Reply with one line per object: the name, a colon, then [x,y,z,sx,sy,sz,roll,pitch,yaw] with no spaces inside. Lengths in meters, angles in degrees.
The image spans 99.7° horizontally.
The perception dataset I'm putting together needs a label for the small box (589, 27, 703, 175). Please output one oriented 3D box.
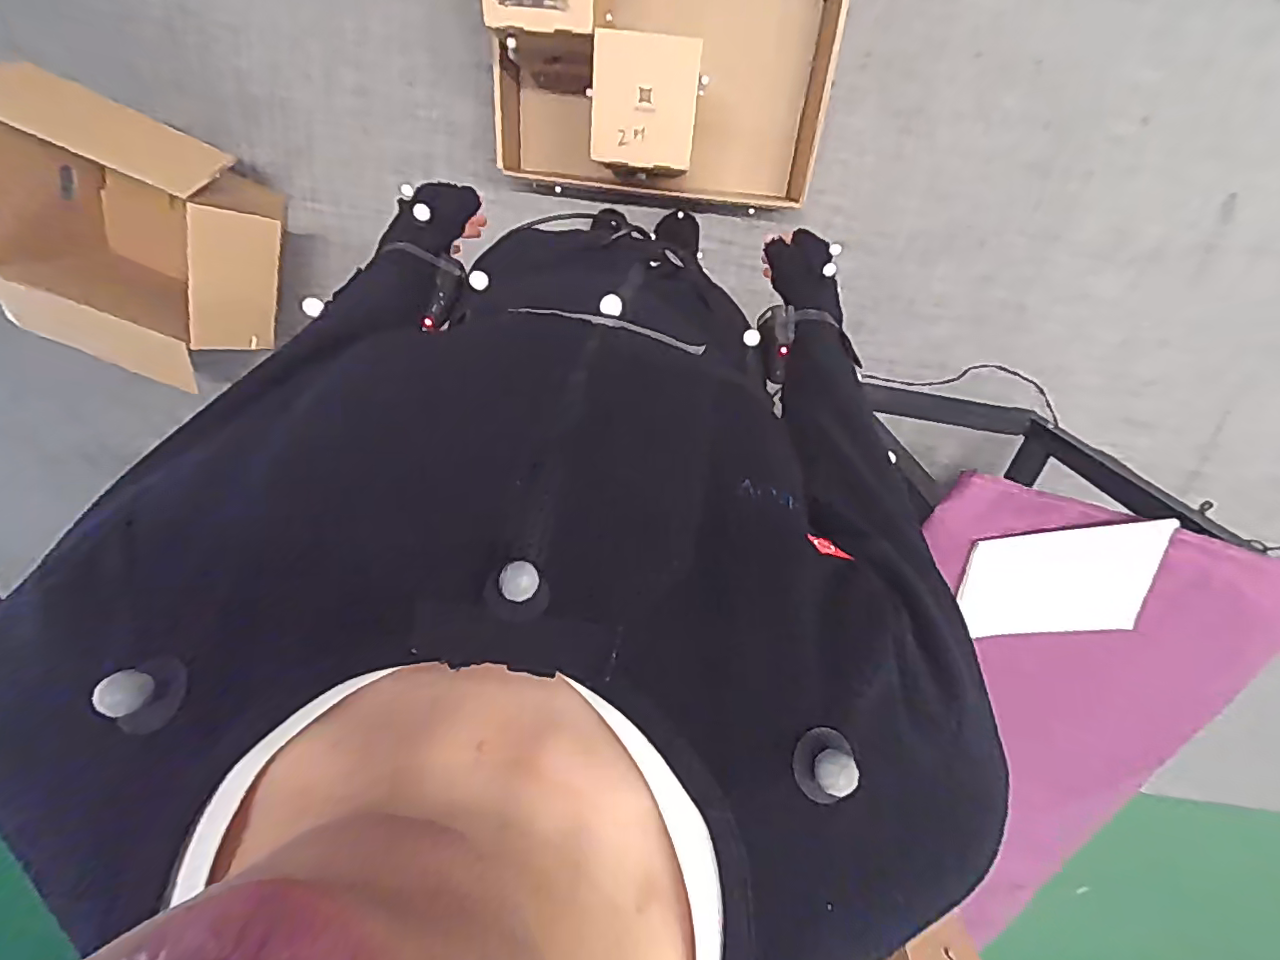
small box: [0.008,-0.625,0.913,0.168,0.176,0.179,6,118,0]
